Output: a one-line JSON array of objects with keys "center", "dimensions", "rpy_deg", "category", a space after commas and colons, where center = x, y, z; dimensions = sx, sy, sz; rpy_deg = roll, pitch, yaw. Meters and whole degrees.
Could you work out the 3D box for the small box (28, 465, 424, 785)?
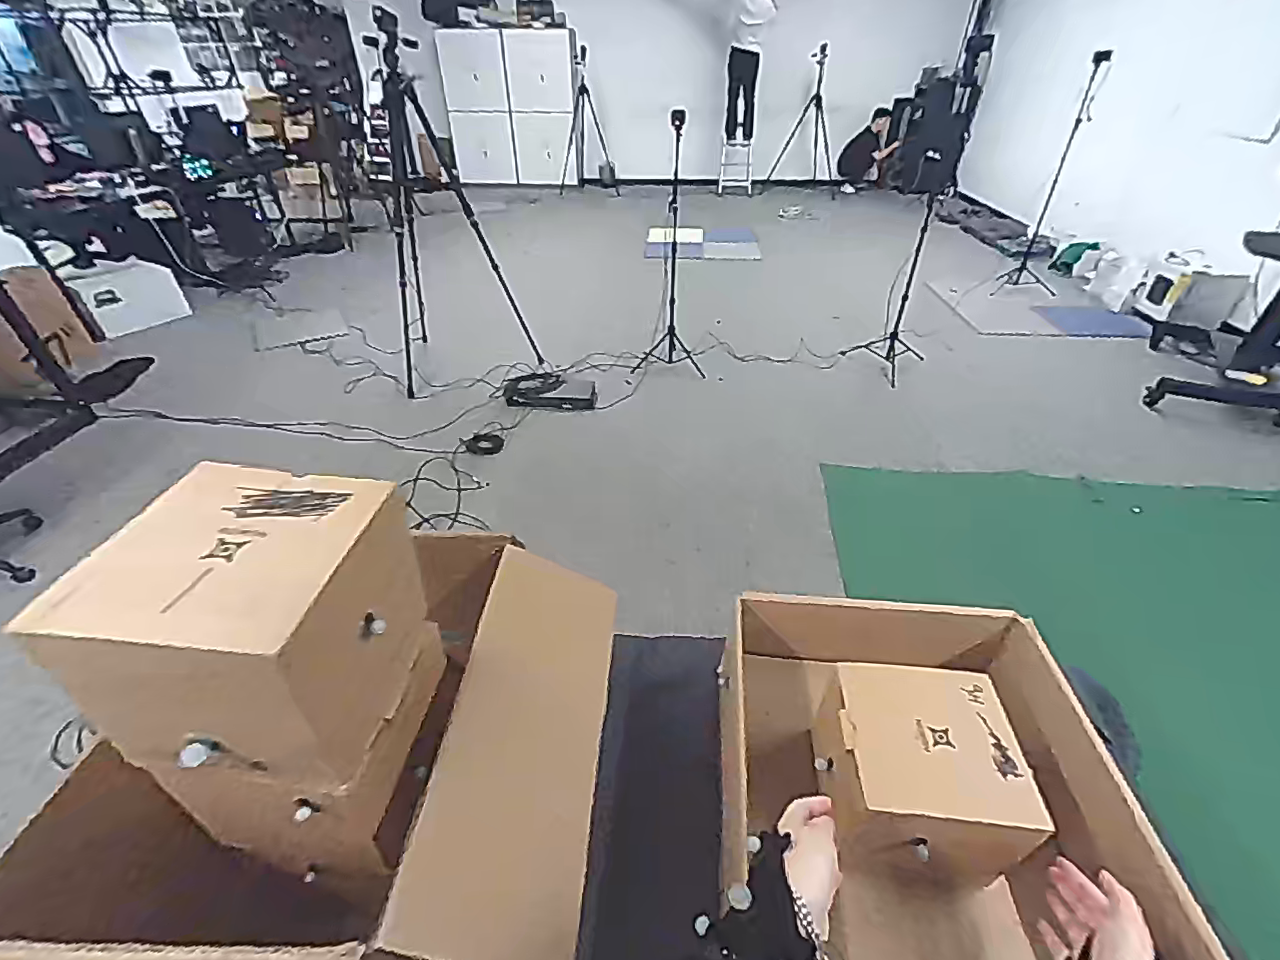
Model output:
[{"center": [-0.290, 0.112, 0.438], "dimensions": [0.168, 0.176, 0.179], "rpy_deg": [6, 37, 0], "category": "small box"}]
